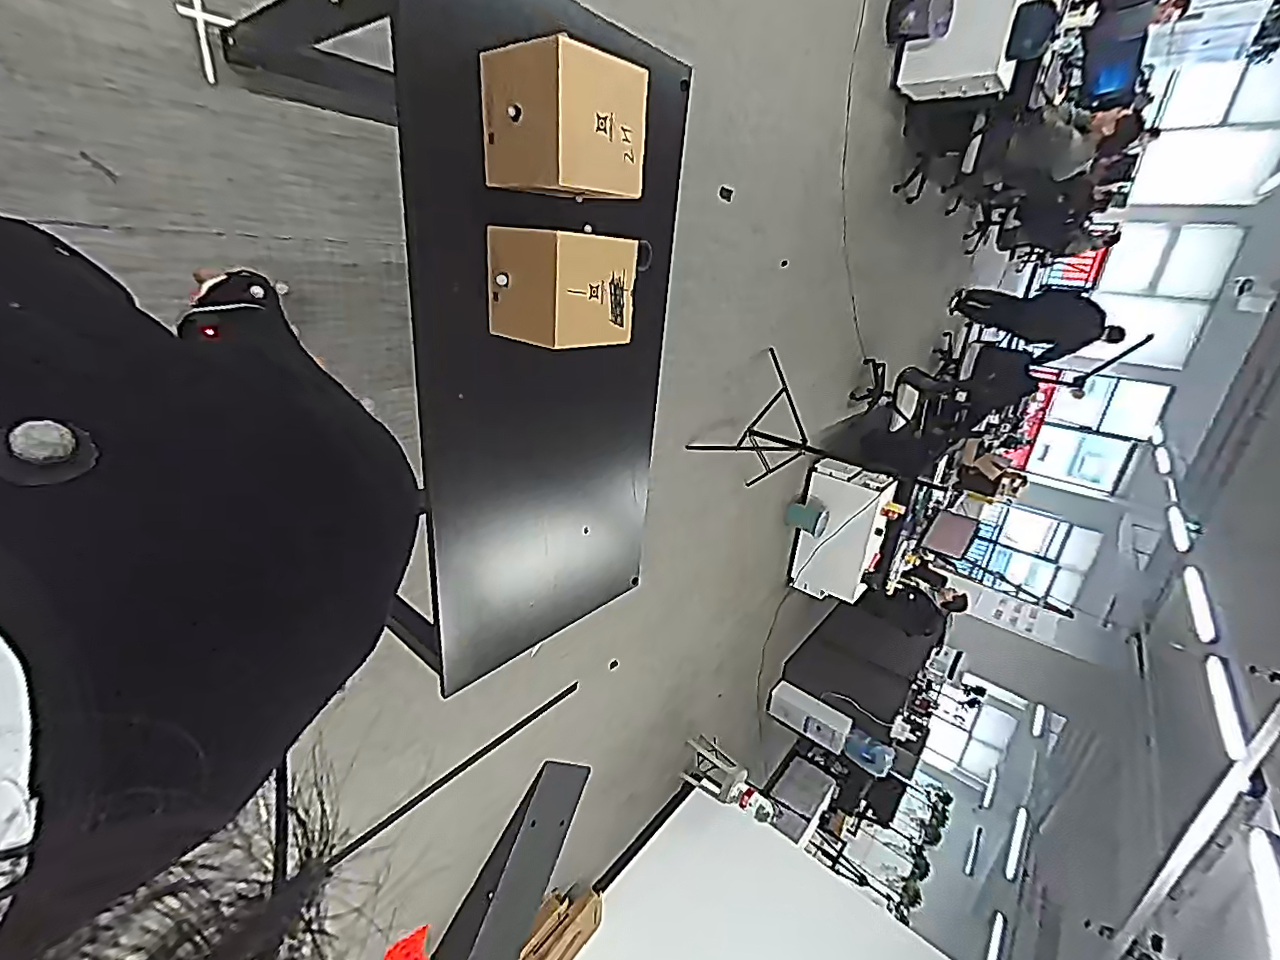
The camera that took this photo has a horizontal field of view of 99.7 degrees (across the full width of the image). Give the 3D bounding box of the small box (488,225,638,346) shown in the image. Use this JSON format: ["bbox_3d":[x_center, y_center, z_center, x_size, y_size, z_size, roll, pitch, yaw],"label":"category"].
[{"bbox_3d":[-0.128,-0.321,0.889,0.179,0.176,0.168,-21,123,-46],"label":"small box"}]
